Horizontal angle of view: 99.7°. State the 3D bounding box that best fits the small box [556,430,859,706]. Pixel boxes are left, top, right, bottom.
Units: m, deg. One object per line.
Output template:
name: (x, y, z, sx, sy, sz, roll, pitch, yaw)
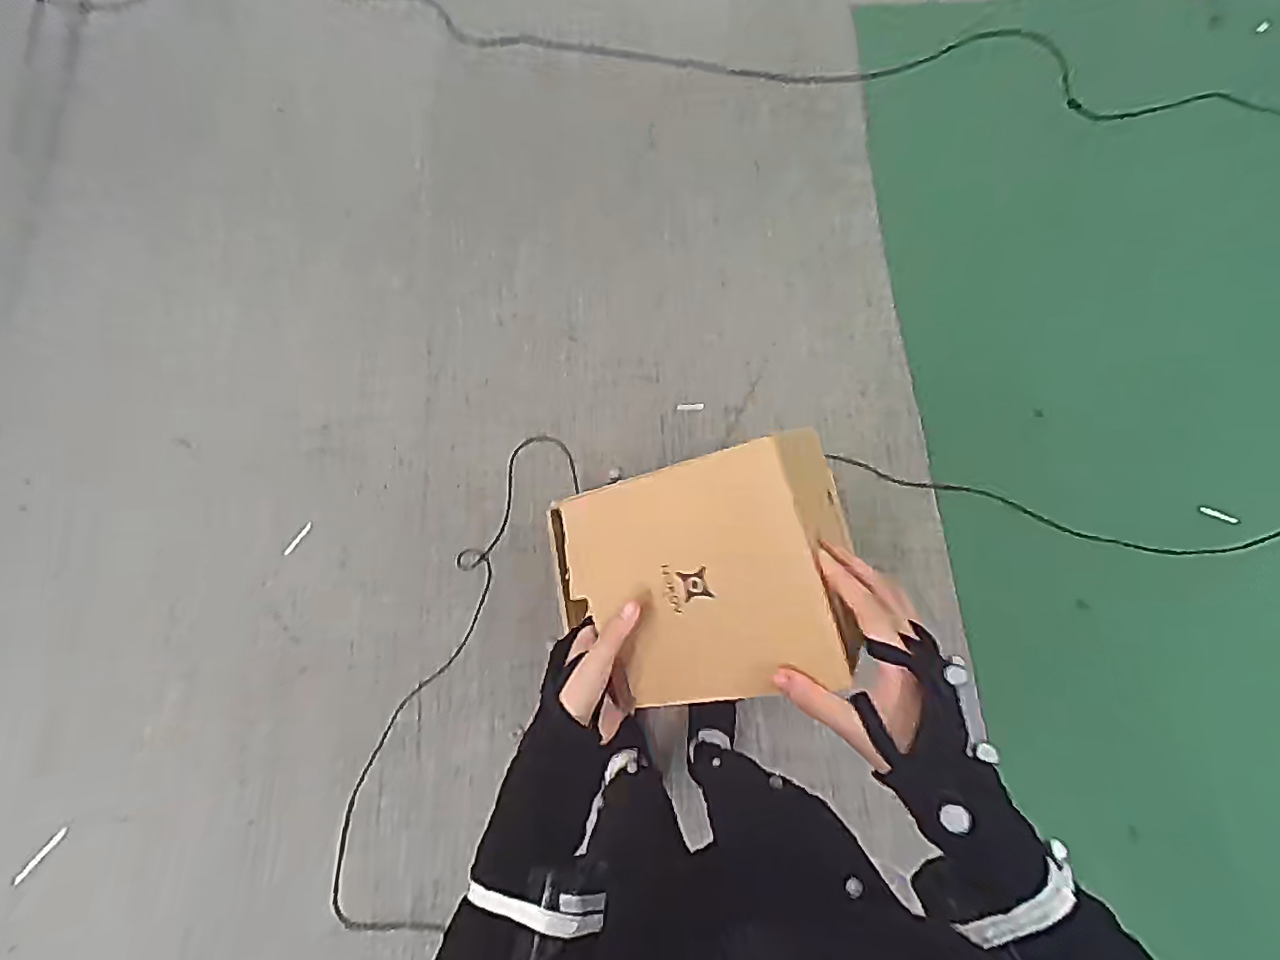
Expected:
small box: (0.067, 0.061, 0.443, 0.179, 0.176, 0.168, -20, 86, 29)
